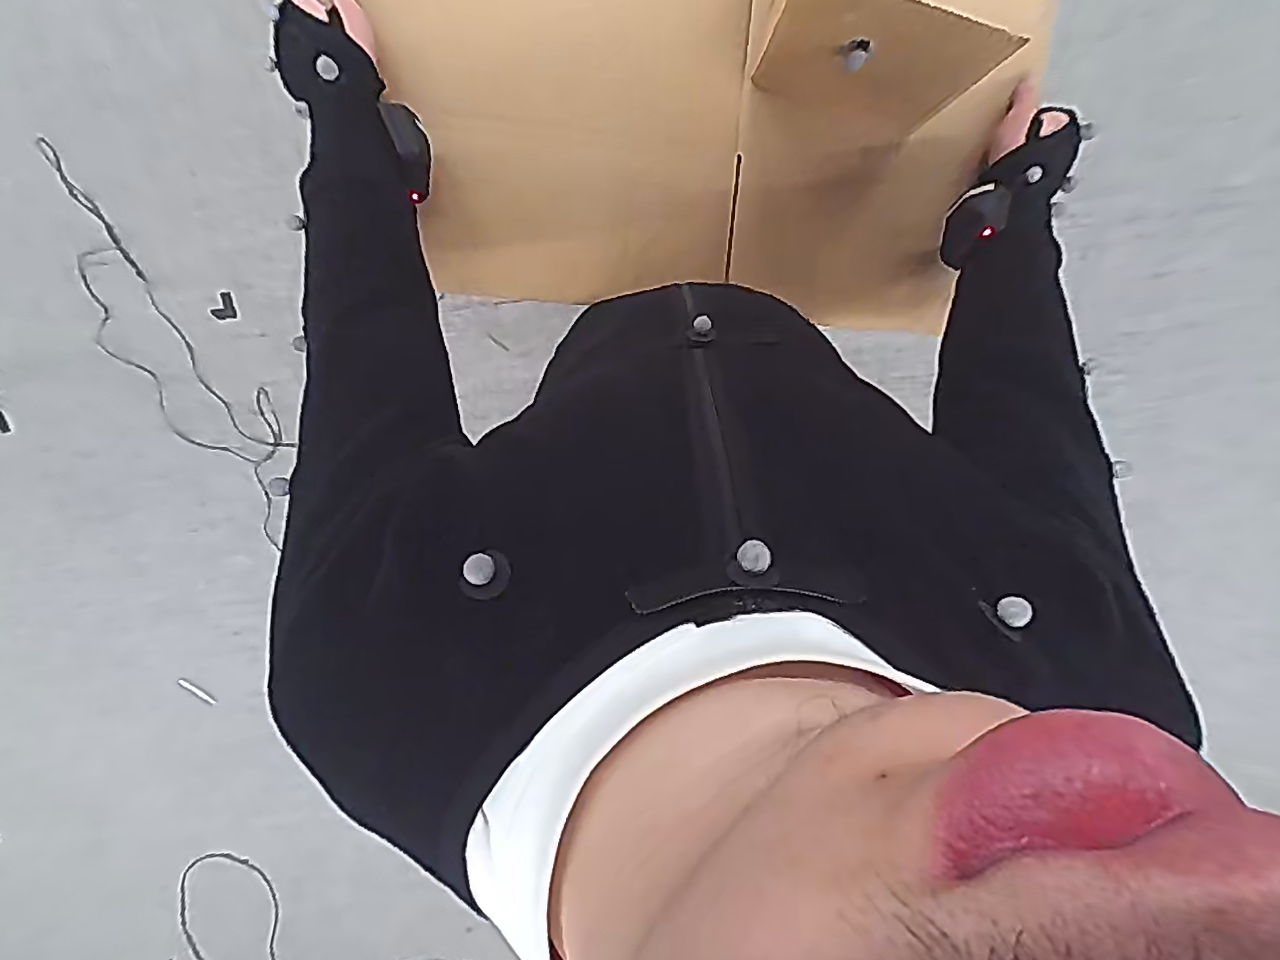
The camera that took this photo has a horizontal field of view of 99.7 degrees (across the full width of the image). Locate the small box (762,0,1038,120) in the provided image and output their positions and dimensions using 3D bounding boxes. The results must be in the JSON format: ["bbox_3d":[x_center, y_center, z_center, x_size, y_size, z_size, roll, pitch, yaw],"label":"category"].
[{"bbox_3d":[0.218,-0.437,0.450,0.179,0.176,0.168,14,103,-3],"label":"small box"}]
